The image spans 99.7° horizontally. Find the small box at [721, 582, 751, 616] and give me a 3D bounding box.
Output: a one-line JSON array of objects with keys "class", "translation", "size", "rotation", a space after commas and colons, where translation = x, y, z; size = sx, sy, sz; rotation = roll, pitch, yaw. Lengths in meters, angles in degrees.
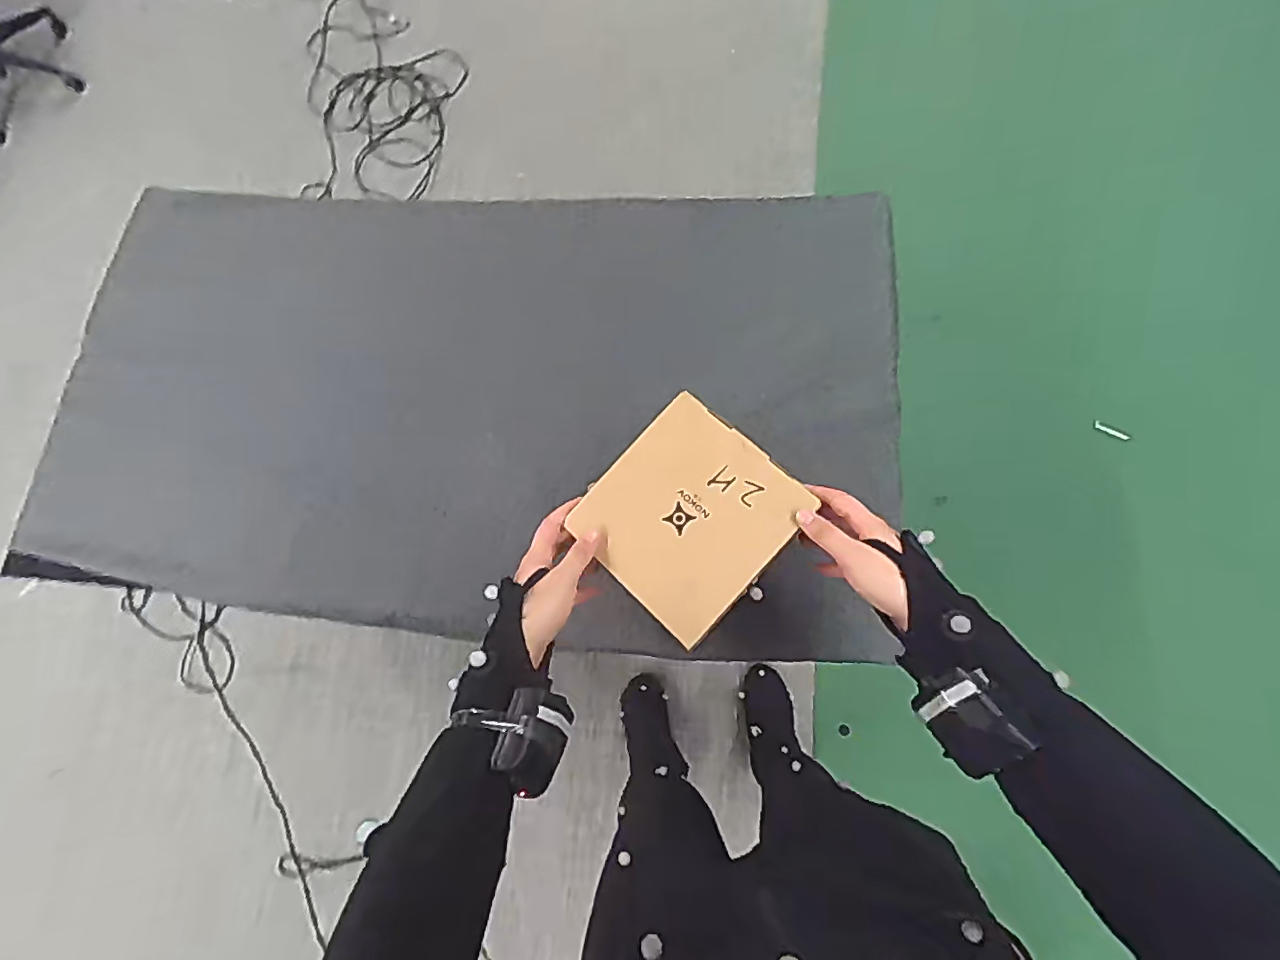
[{"class": "small box", "translation": [0.168, 0.221, 1.259], "size": [0.179, 0.176, 0.168], "rotation": [9, 77, 9]}]

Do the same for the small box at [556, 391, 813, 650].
[{"class": "small box", "translation": [0.049, 0.048, 0.556], "size": [0.168, 0.176, 0.179], "rotation": [42, 86, 15]}]
